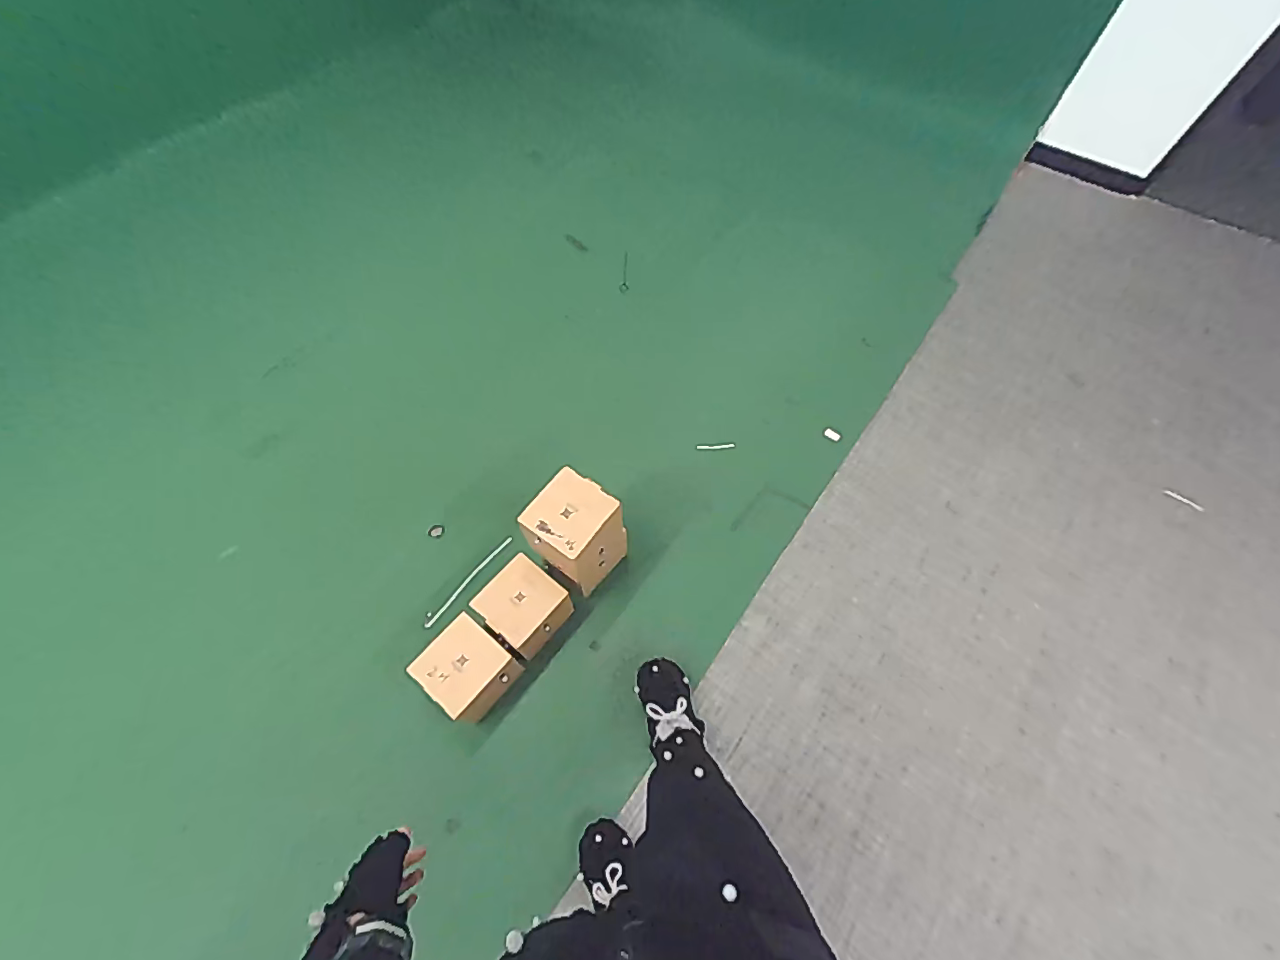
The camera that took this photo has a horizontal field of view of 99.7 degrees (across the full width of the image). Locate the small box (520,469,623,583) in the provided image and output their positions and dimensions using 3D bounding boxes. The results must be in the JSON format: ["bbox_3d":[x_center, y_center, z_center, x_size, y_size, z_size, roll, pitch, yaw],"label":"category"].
[{"bbox_3d":[-0.158,0.113,1.287,0.168,0.176,0.179,34,66,16],"label":"small box"}]
